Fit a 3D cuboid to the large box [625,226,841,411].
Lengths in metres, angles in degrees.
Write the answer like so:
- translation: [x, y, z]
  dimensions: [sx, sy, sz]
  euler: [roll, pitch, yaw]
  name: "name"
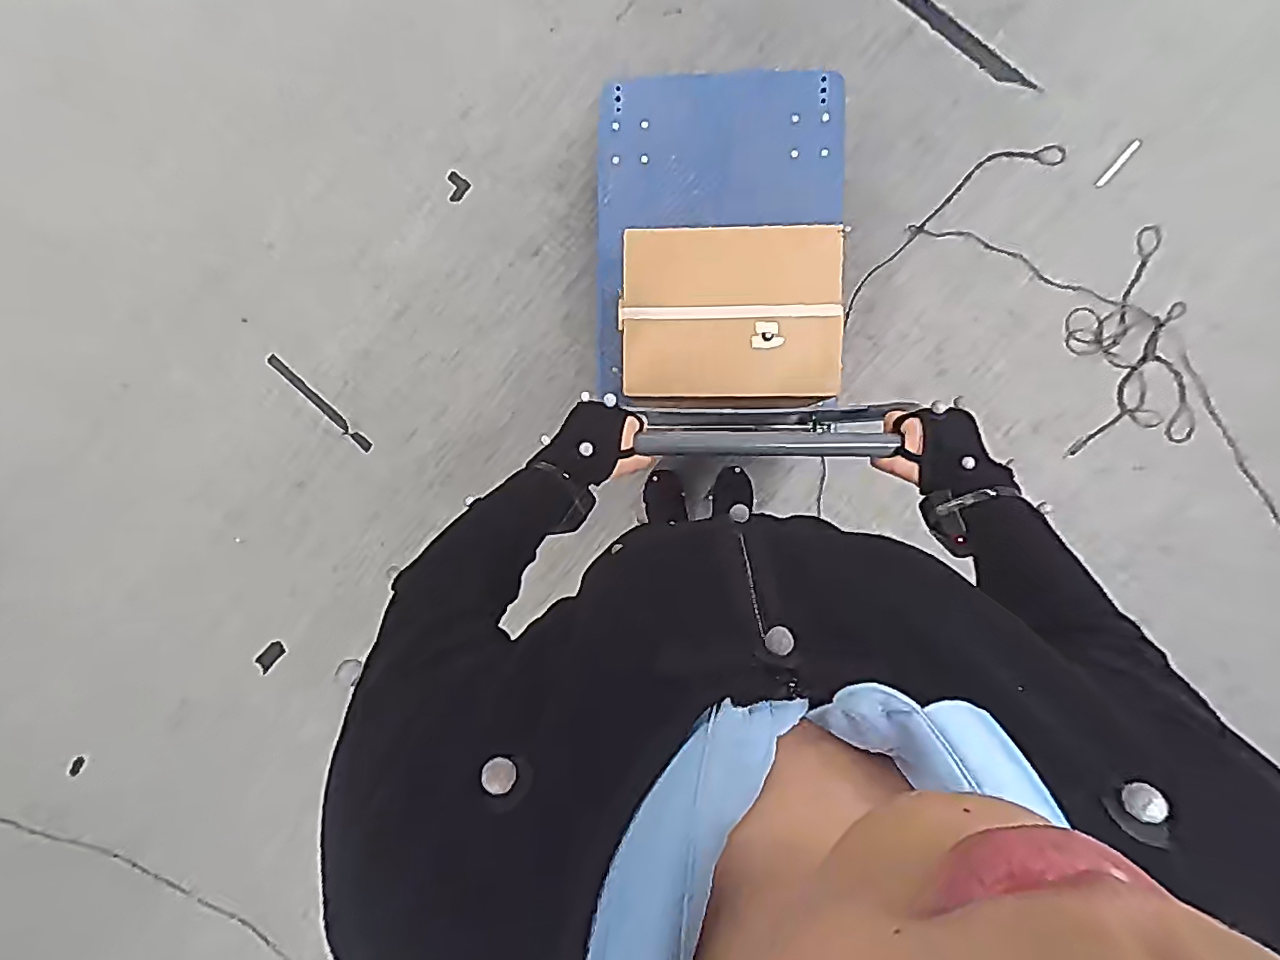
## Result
- translation: [0.179, -0.319, 1.159]
  dimensions: [0.408, 0.320, 0.320]
  euler: [0, 94, 3]
  name: "large box"
